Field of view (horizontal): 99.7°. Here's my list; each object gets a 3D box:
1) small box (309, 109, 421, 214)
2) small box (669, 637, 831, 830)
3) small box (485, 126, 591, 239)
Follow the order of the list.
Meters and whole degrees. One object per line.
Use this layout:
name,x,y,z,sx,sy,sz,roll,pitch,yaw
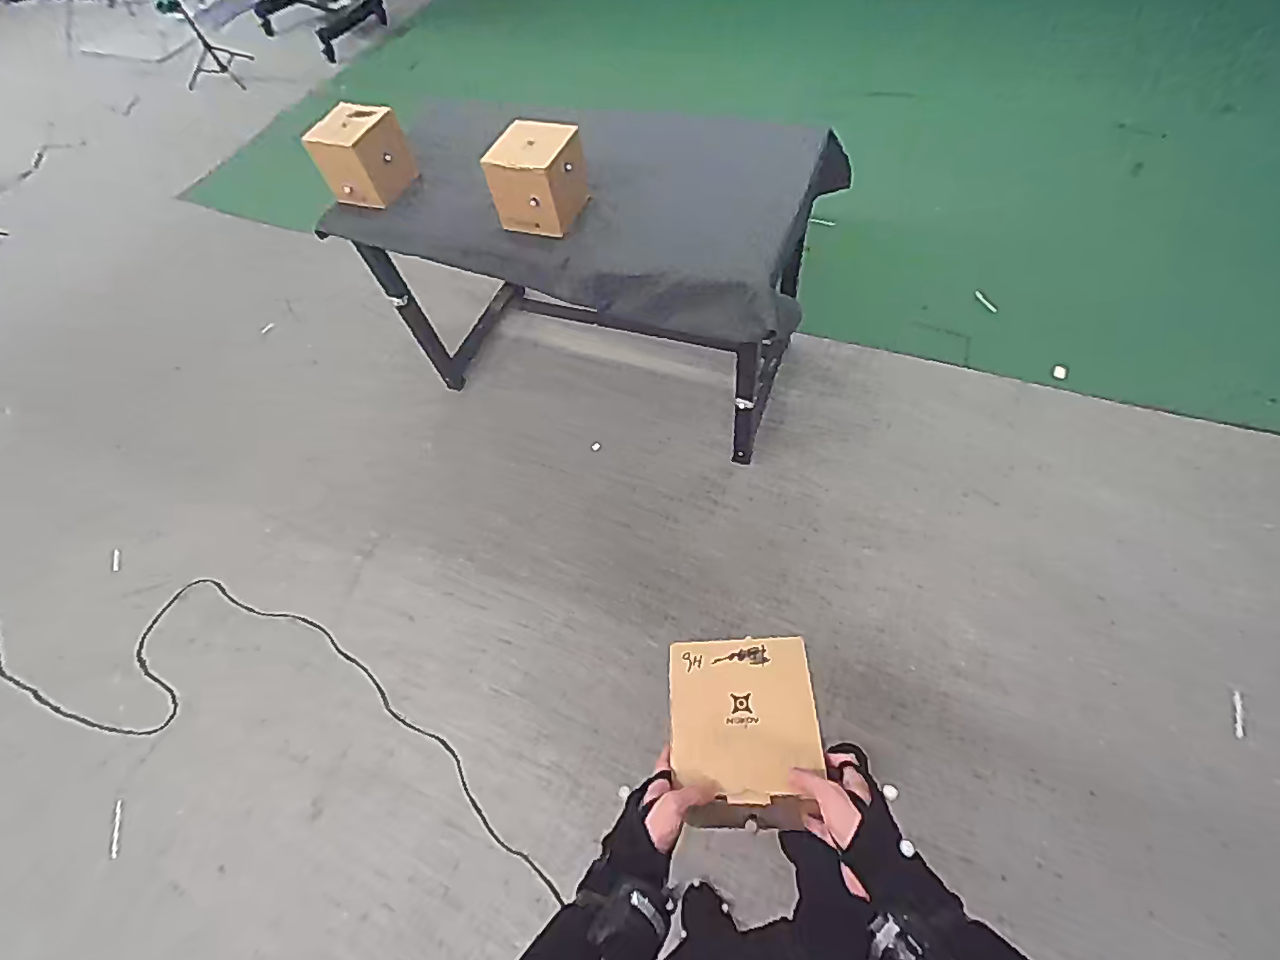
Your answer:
small box,-0.709,-0.836,1.422,0.168,0.176,0.179,16,63,17
small box,0.130,0.311,0.655,0.168,0.176,0.179,-6,48,9
small box,-0.228,-0.695,1.271,0.168,0.176,0.179,16,61,16
